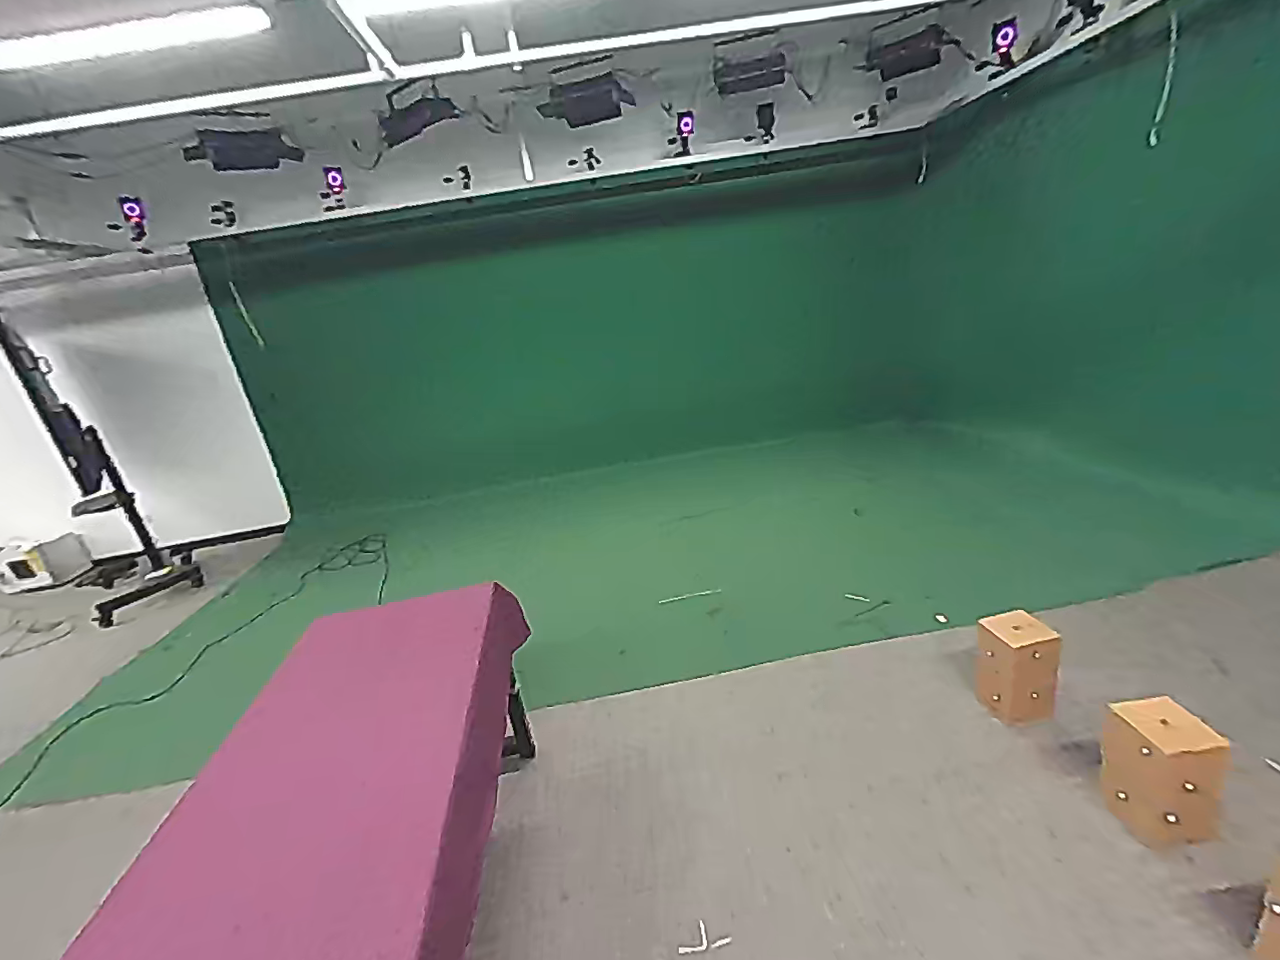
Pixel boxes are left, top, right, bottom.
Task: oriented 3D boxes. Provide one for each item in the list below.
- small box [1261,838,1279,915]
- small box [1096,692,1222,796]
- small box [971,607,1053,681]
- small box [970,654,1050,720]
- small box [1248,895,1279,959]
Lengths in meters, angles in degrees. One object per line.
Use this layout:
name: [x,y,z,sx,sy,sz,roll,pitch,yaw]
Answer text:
small box: [1.393,0.829,1.059,0.179,0.176,0.168,-8,19,1]
small box: [1.370,0.700,1.443,0.168,0.176,0.179,-9,19,1]
small box: [1.278,0.568,1.867,0.179,0.176,0.168,-11,20,-5]
small box: [1.307,0.721,1.919,0.179,0.176,0.168,-10,20,-4]
small box: [1.424,0.983,1.112,0.179,0.176,0.168,-10,19,0]
